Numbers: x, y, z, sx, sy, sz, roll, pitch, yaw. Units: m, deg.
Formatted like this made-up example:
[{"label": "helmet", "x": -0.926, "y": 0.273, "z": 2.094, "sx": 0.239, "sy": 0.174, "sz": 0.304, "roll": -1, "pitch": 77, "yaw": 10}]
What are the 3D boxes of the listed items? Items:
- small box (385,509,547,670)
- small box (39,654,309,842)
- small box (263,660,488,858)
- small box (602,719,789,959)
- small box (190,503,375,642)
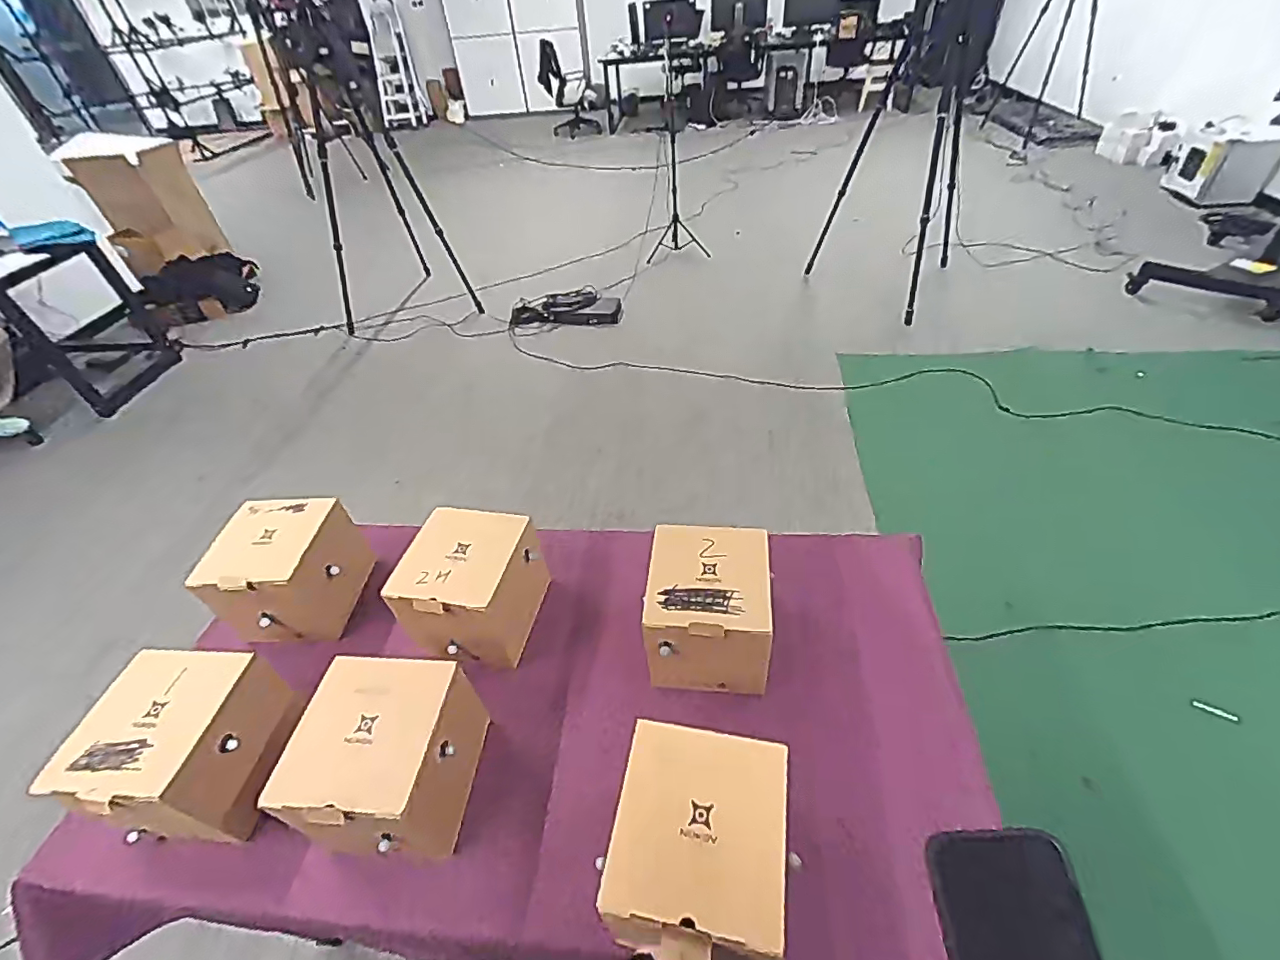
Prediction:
[{"label": "small box", "x": -0.259, "y": 0.172, "z": 0.858, "sx": 0.168, "sy": 0.176, "sz": 0.179, "roll": 5, "pitch": 45, "yaw": 13}, {"label": "small box", "x": -0.580, "y": 0.352, "z": 0.709, "sx": 0.168, "sy": 0.176, "sz": 0.179, "roll": 0, "pitch": 42, "yaw": 6}, {"label": "small box", "x": -0.307, "y": 0.350, "z": 0.678, "sx": 0.168, "sy": 0.176, "sz": 0.179, "roll": 1, "pitch": 43, "yaw": 7}, {"label": "small box", "x": 0.066, "y": 0.392, "z": 0.583, "sx": 0.168, "sy": 0.176, "sz": 0.179, "roll": 5, "pitch": 44, "yaw": 12}, {"label": "small box", "x": -0.581, "y": 0.160, "z": 0.912, "sx": 0.168, "sy": 0.176, "sz": 0.179, "roll": -2, "pitch": 44, "yaw": 4}]
